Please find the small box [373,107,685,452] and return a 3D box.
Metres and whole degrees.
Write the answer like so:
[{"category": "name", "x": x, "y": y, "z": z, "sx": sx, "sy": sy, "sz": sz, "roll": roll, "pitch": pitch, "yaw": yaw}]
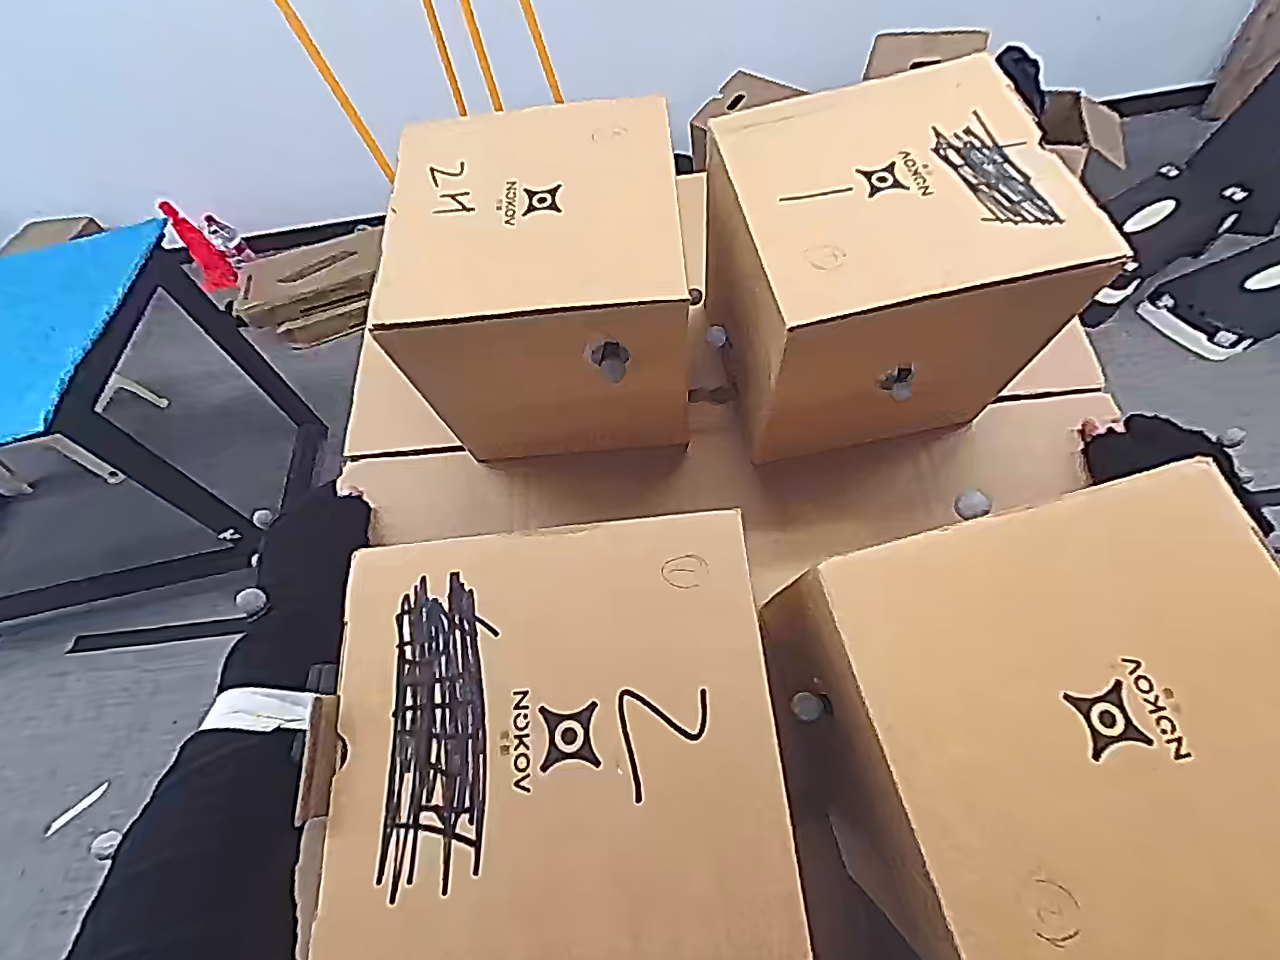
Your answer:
[{"category": "small box", "x": -0.059, "y": -0.132, "z": 0.401, "sx": 0.179, "sy": 0.176, "sz": 0.168, "roll": -4, "pitch": 66, "yaw": 4}]
